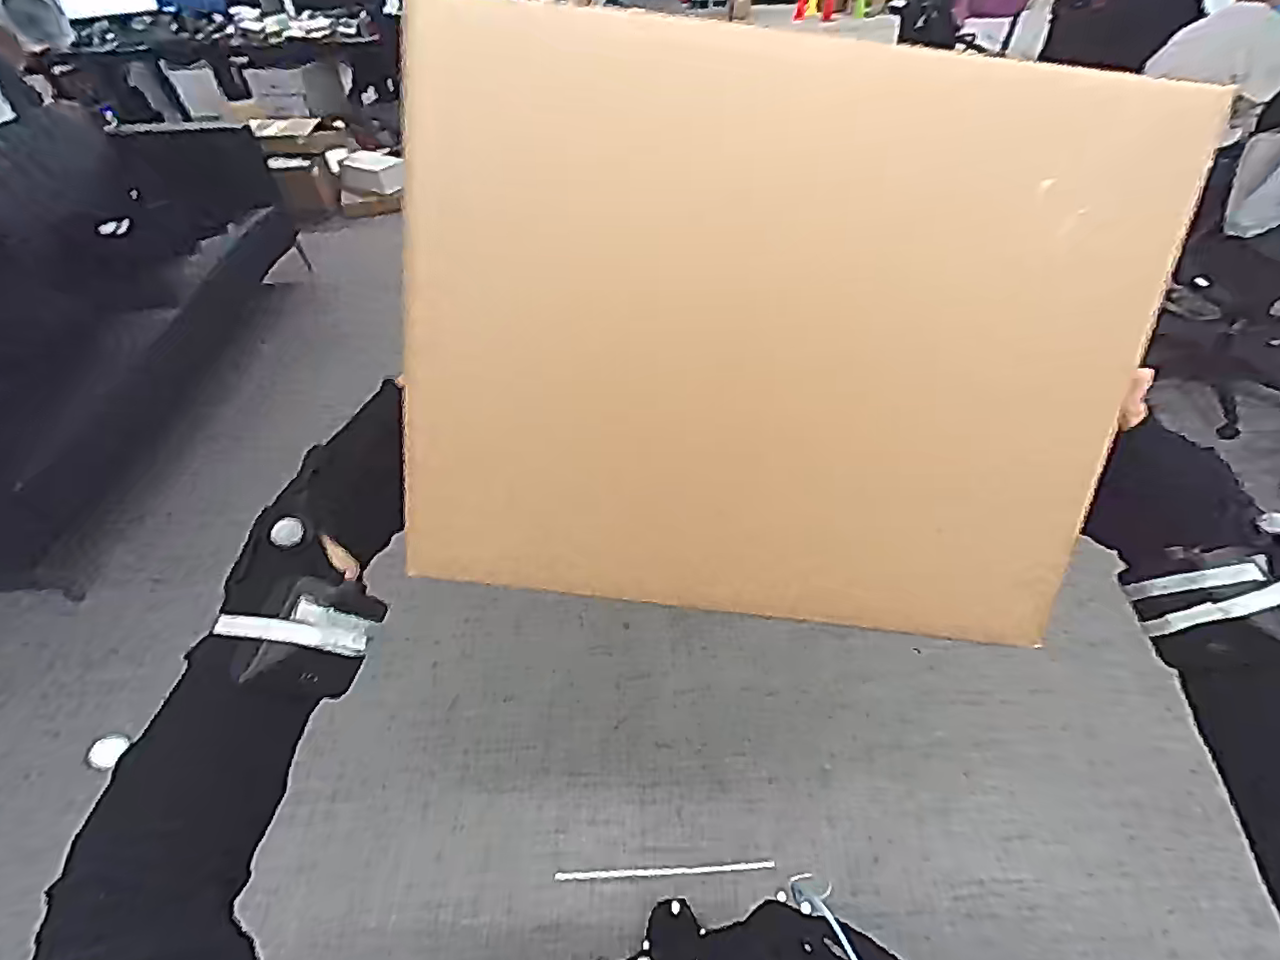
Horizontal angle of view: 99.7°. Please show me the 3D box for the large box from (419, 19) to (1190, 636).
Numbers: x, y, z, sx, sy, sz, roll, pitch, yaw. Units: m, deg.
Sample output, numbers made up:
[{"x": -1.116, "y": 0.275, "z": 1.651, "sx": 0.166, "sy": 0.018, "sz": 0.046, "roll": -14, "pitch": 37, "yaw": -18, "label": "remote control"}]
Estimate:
[{"x": 0.071, "y": -0.099, "z": 0.453, "sx": 0.408, "sy": 0.320, "sz": 0.320, "roll": 7, "pitch": 16, "yaw": -1, "label": "large box"}]
